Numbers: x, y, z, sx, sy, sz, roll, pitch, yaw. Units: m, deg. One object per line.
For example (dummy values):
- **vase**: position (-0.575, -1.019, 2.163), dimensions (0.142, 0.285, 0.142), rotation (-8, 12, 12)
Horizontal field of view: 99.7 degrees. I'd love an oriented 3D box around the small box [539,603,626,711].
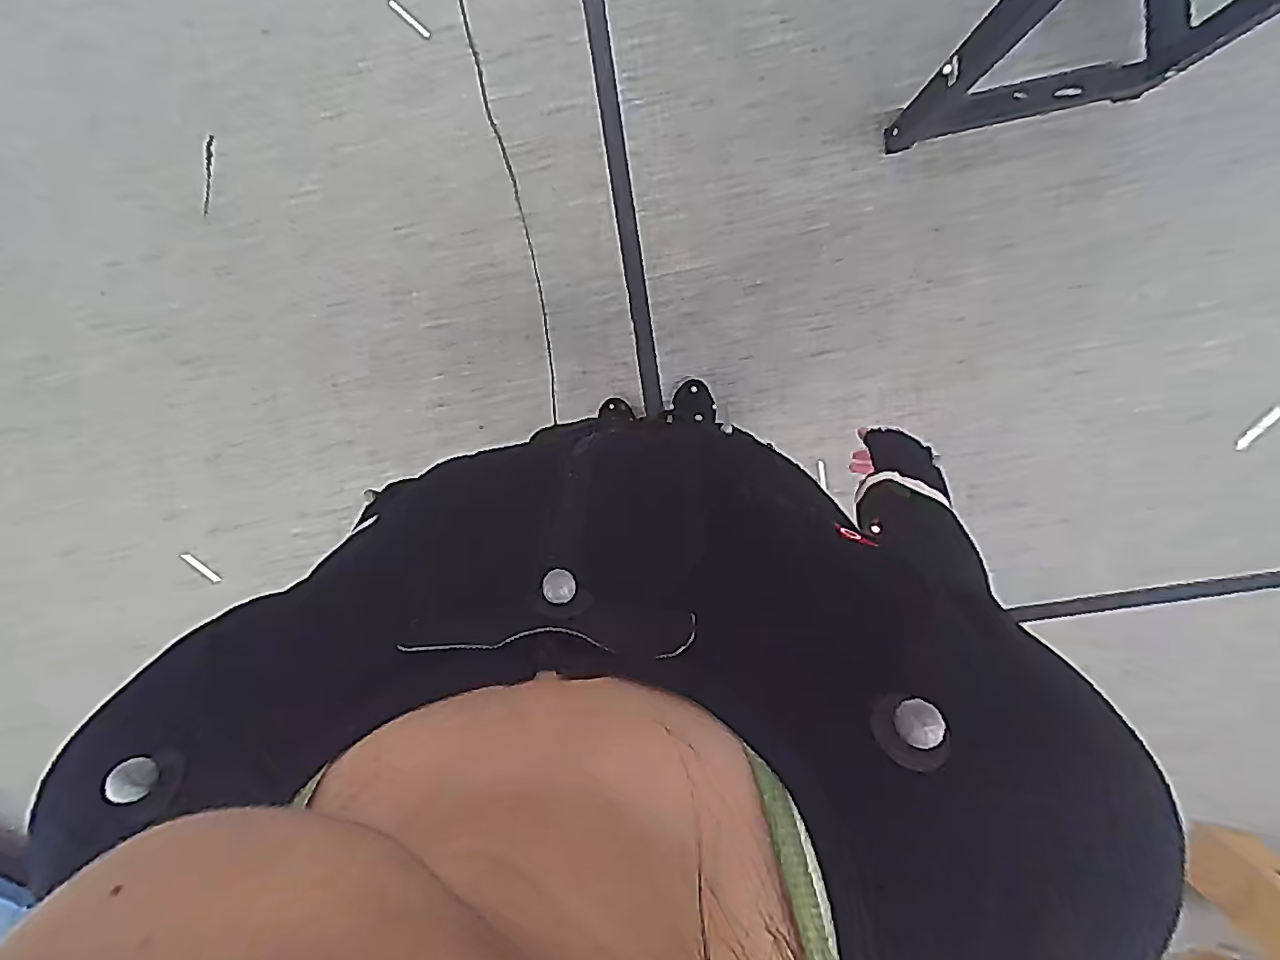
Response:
- **small box**: position (-0.133, 0.426, 1.328), dimensions (0.168, 0.176, 0.179), rotation (14, 101, 2)
